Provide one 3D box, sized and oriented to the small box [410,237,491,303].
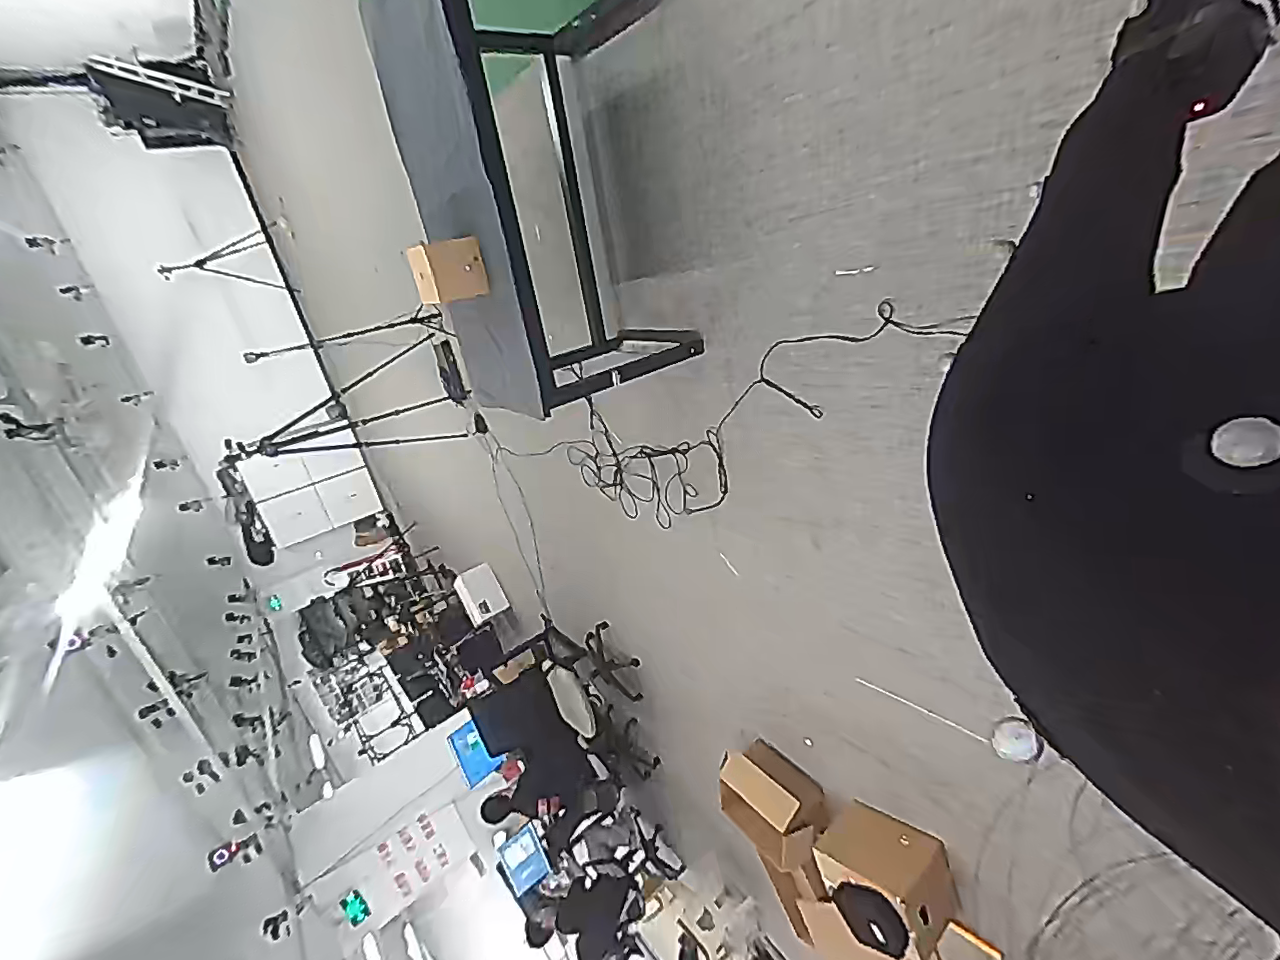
[{"bbox_3d":[-0.591,-0.656,1.693,0.179,0.176,0.168,20,128,49],"label":"small box"}]
